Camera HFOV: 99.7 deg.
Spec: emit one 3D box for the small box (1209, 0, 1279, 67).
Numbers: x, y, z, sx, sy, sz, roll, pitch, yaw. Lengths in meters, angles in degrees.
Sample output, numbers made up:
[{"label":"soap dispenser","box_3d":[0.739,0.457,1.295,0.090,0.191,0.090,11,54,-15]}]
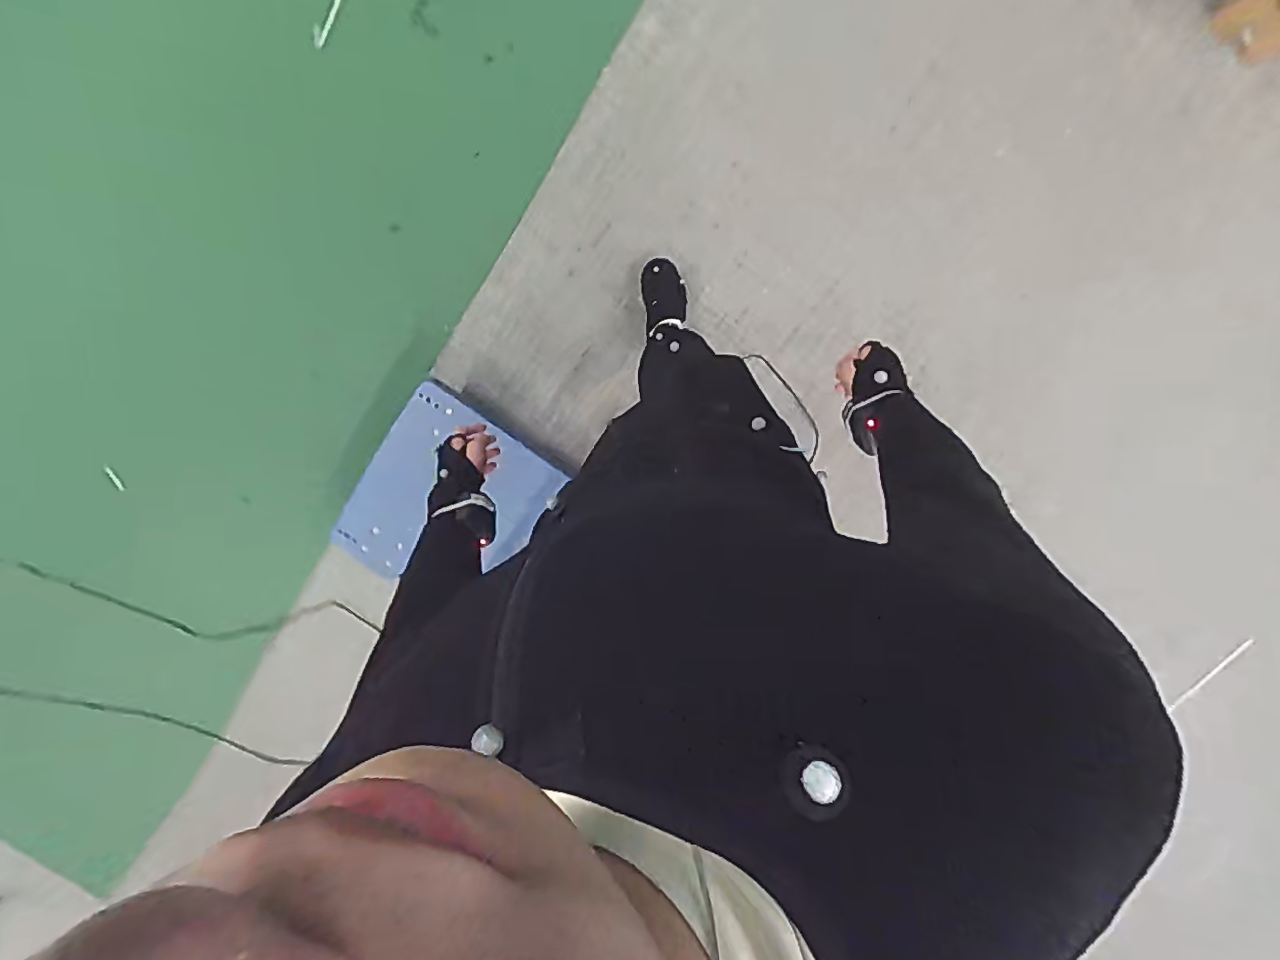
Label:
[{"label":"small box","box_3d":[1.450,-1.081,1.194,0.179,0.176,0.168,-42,97,13]}]
